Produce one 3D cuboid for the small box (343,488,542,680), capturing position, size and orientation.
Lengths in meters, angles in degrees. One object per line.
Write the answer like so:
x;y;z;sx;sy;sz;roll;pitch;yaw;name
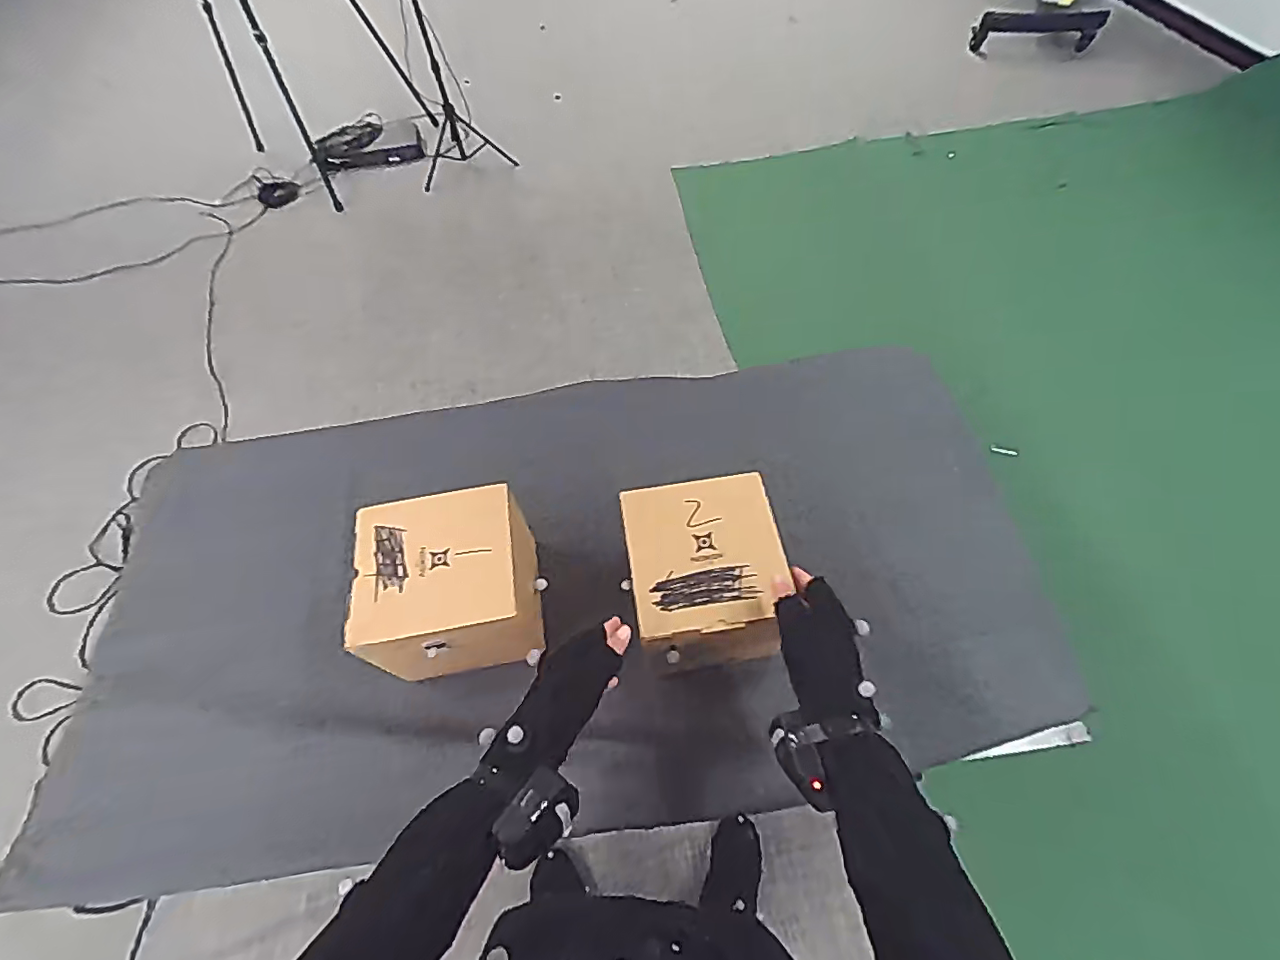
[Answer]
-0.227;0.133;0.661;0.179;0.176;0.168;-10;59;-4;small box
